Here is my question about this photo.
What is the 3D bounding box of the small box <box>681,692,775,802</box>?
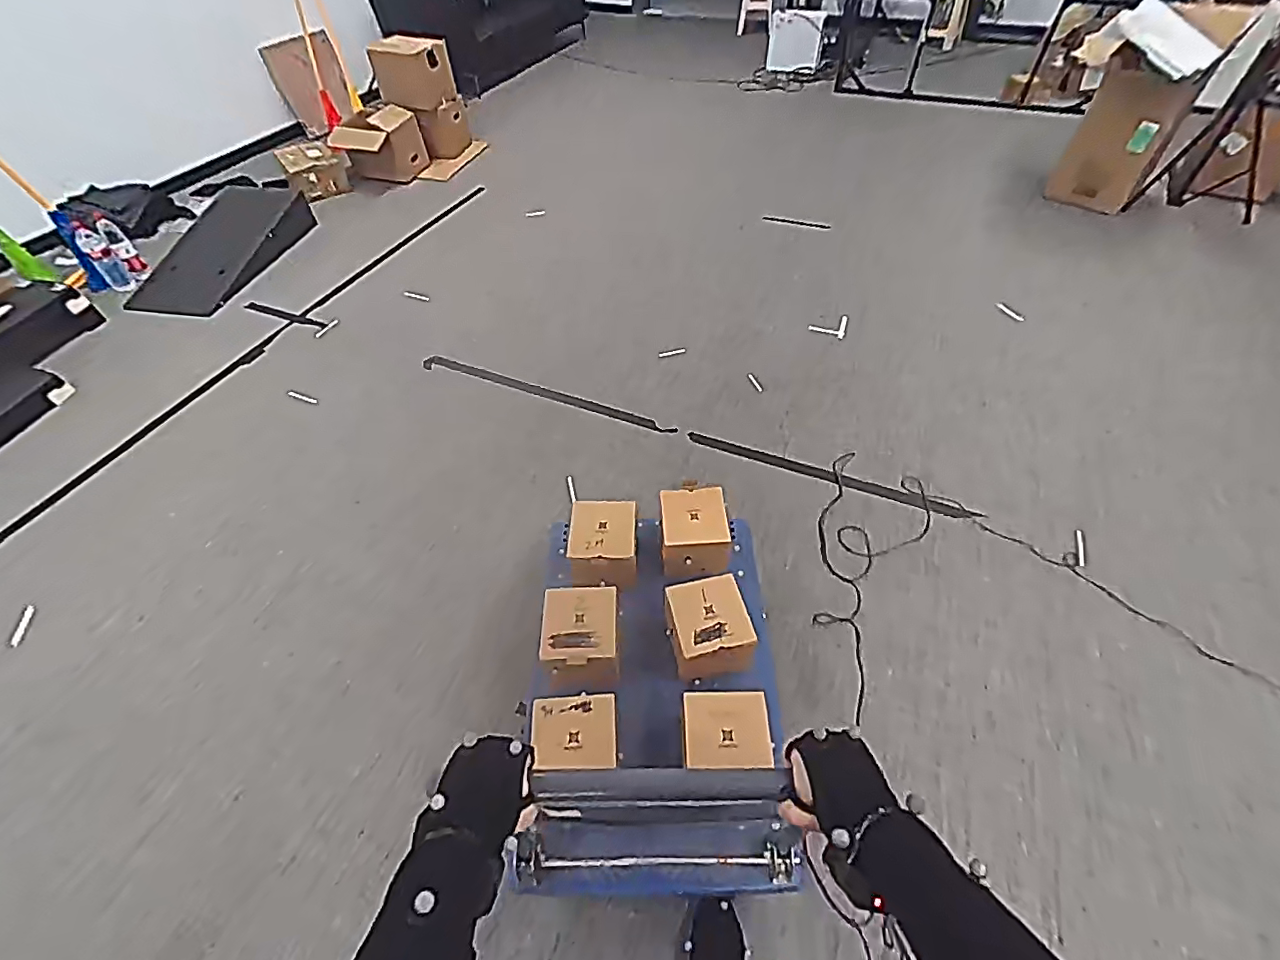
[{"bbox_3d":[0.172,0.550,1.108,0.168,0.176,0.179,0,49,1],"label":"small box"}]

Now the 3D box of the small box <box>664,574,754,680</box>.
[{"bbox_3d":[0.156,0.352,1.273,0.168,0.176,0.179,-11,50,-7],"label":"small box"}]

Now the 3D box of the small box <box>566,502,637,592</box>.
[{"bbox_3d":[-0.095,0.177,1.426,0.168,0.176,0.179,0,51,2],"label":"small box"}]

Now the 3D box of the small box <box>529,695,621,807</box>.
[{"bbox_3d":[-0.127,0.559,1.107,0.168,0.176,0.179,-3,50,-2],"label":"small box"}]

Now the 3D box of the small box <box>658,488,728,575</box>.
[{"bbox_3d":[0.137,0.145,1.449,0.168,0.176,0.179,-4,50,-1],"label":"small box"}]
